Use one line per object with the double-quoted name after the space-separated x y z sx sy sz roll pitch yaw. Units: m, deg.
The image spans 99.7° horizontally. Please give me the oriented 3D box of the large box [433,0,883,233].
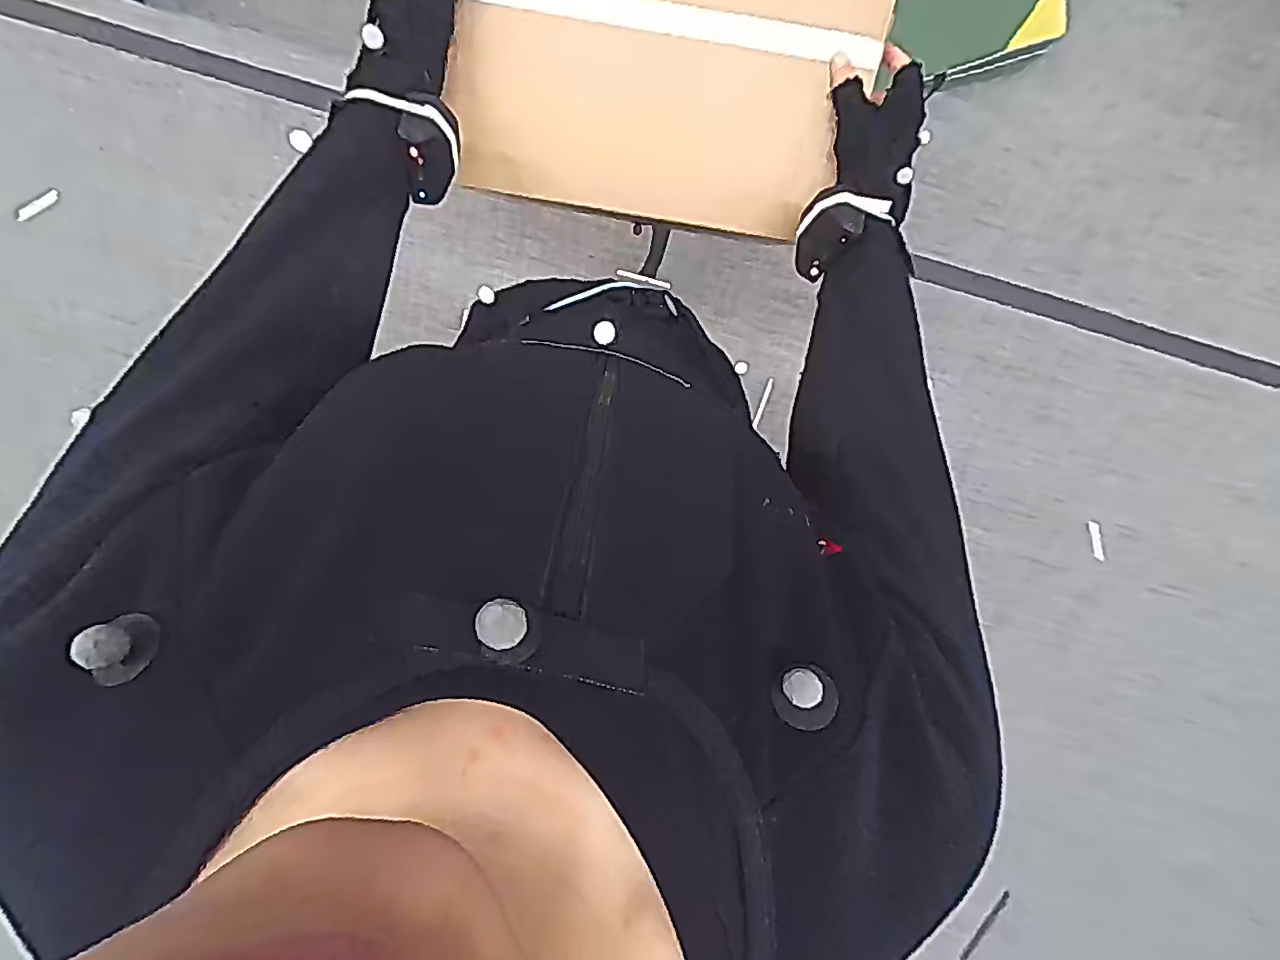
0.022 -0.478 0.619 0.408 0.320 0.320 10 113 -1 "large box"
